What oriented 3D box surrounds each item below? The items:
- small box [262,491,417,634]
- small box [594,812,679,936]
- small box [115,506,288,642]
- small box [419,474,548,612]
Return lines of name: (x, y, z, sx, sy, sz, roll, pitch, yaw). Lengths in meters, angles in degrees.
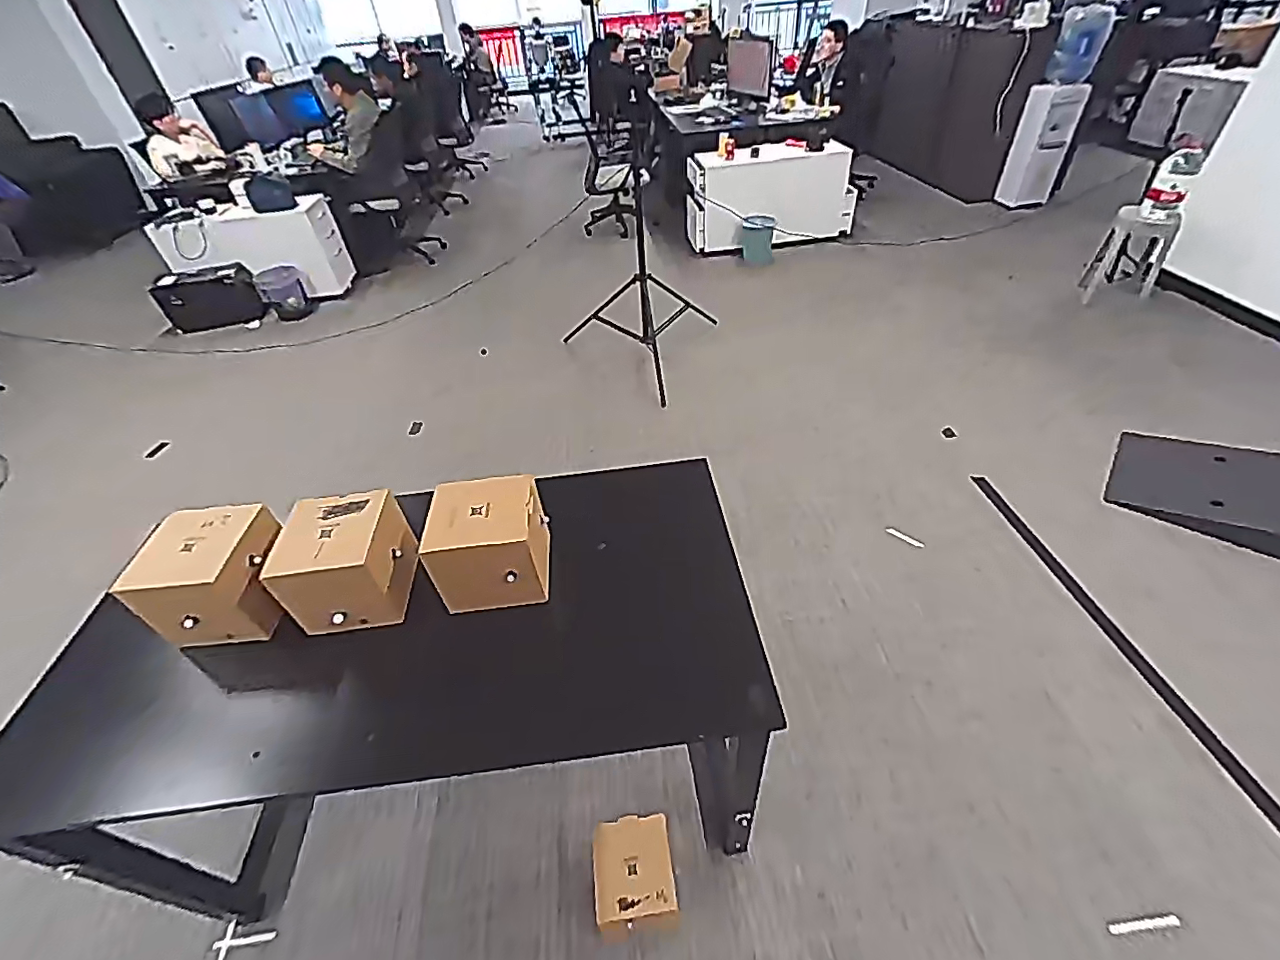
small box: (-0.510, 0.145, 0.952, 0.168, 0.176, 0.179, -8, 43, -3)
small box: (-0.009, 0.866, 1.190, 0.168, 0.176, 0.179, -9, 42, -2)
small box: (-0.733, 0.170, 0.950, 0.168, 0.176, 0.179, -5, 42, 0)
small box: (-0.264, 0.114, 0.963, 0.179, 0.176, 0.168, -8, 41, -1)
